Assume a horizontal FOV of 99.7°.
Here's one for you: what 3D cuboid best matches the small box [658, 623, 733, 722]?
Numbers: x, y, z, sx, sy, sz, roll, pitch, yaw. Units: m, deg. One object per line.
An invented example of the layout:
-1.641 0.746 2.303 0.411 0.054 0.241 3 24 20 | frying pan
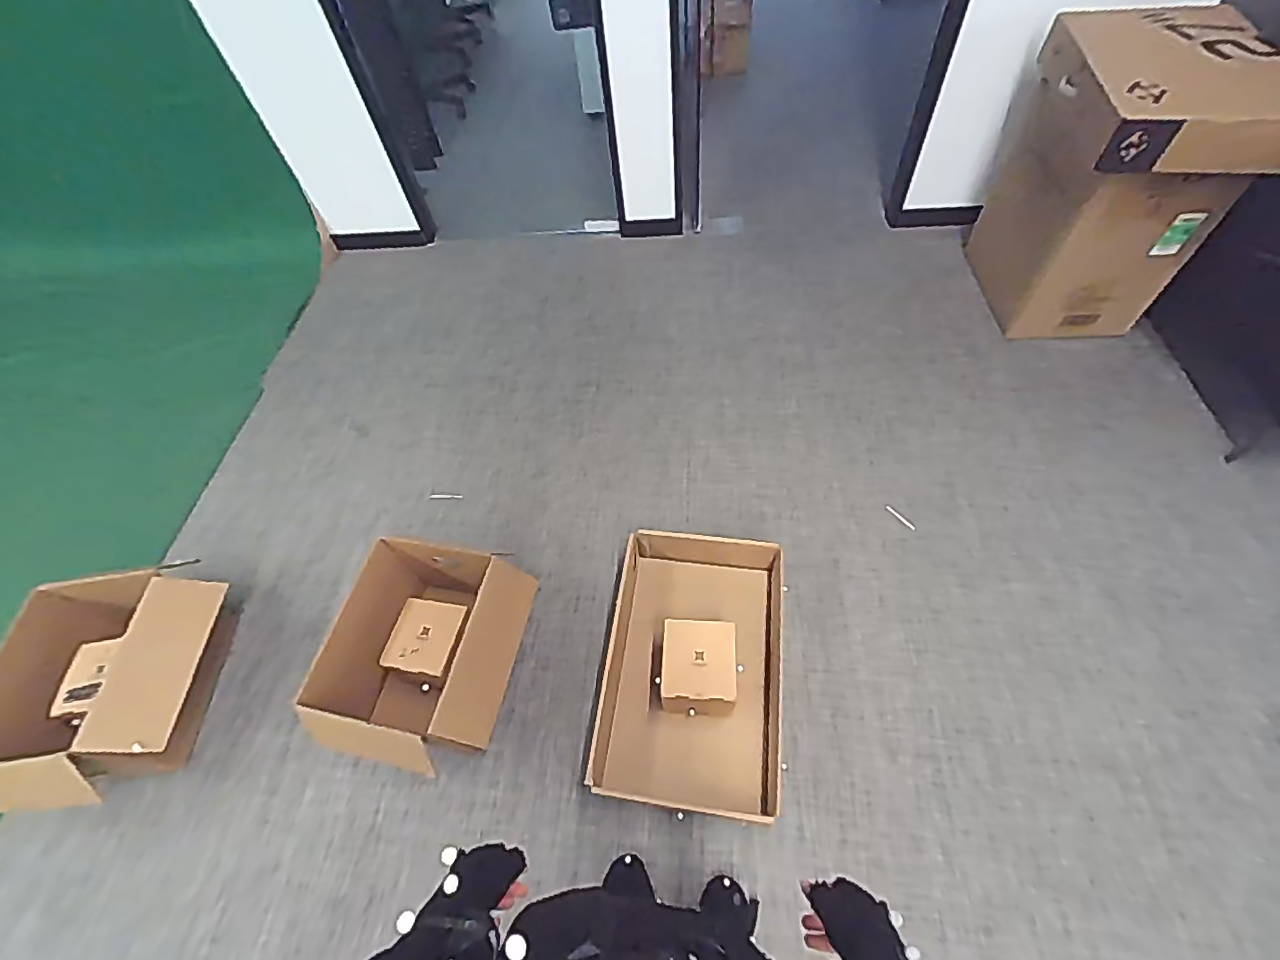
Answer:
0.129 0.455 1.275 0.168 0.176 0.179 1 56 5 | small box
